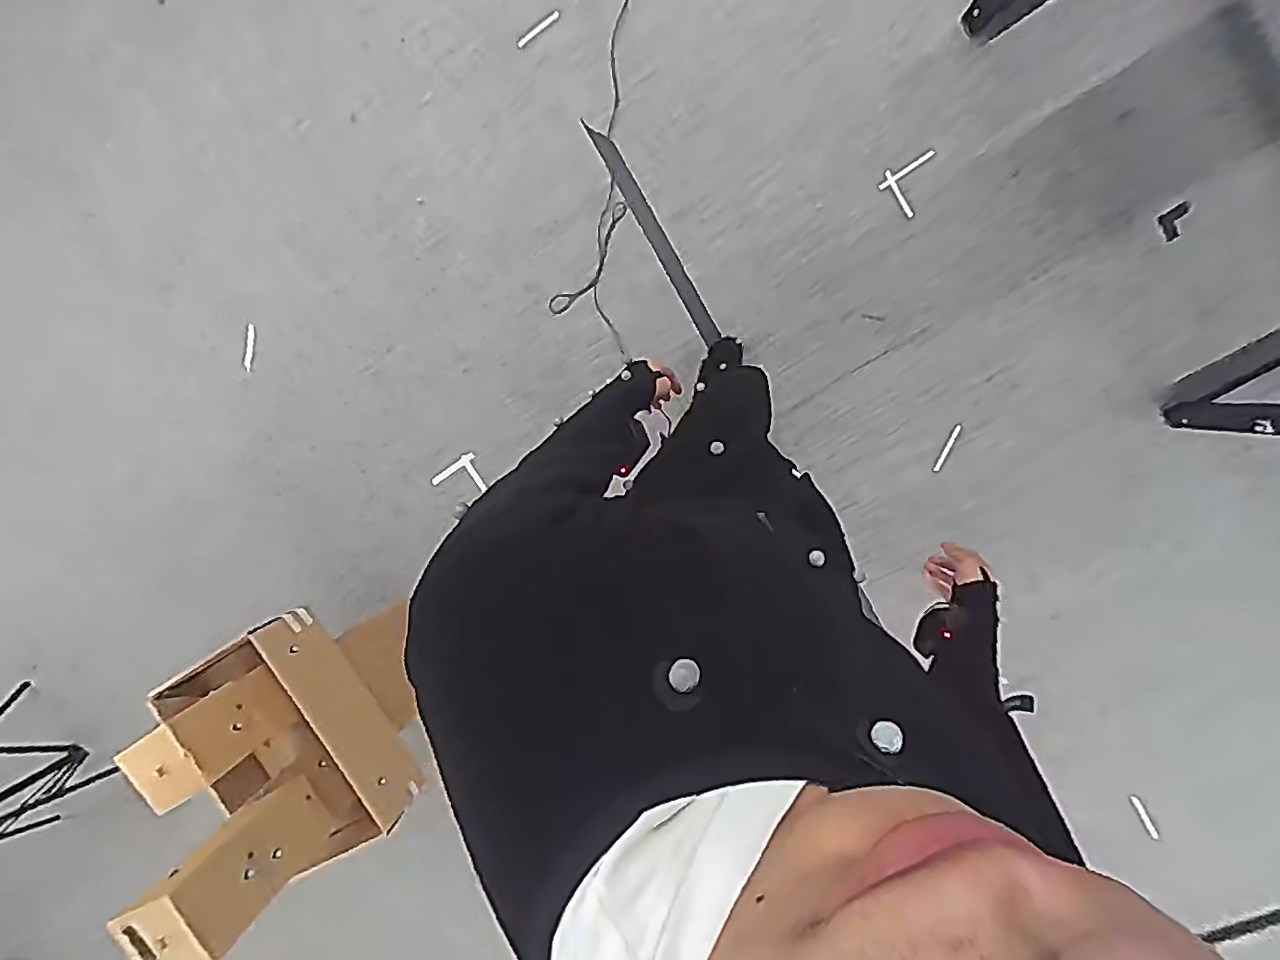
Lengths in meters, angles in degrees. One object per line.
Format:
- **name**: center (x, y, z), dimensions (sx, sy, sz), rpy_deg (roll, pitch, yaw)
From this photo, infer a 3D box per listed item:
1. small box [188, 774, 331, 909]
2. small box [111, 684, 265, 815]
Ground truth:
- **small box**: center (-0.869, 0.828, 1.250), dimensions (0.179, 0.176, 0.168), rpy_deg (-30, 95, 13)
- **small box**: center (-1.014, 0.604, 1.228), dimensions (0.179, 0.176, 0.168), rpy_deg (-33, 95, 12)
